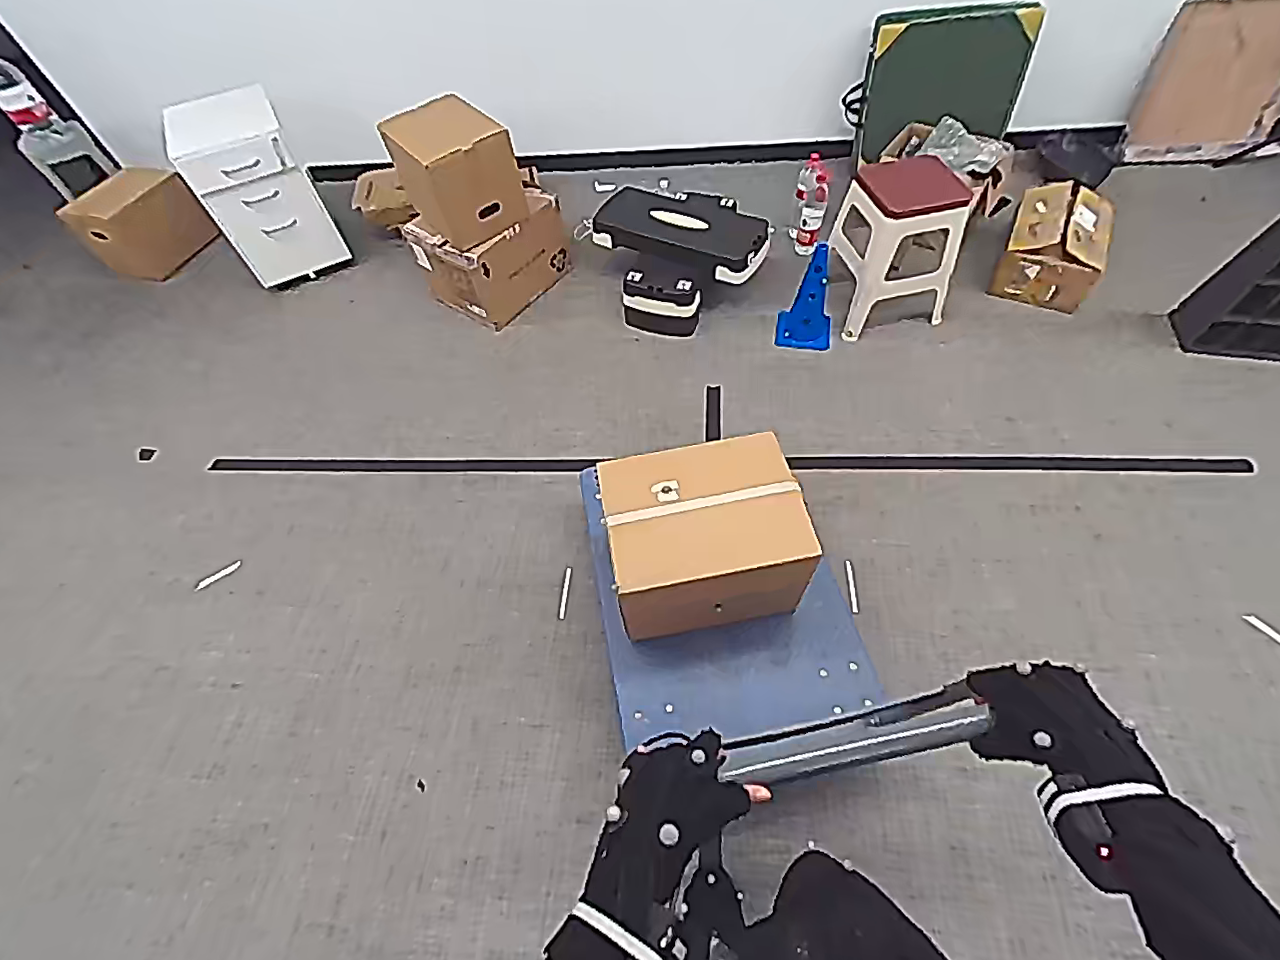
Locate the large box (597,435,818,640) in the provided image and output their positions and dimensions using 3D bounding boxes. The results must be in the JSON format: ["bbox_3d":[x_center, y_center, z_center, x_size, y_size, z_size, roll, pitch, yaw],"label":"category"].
[{"bbox_3d":[0.138,0.142,1.243,0.408,0.320,0.320,-11,57,-2],"label":"large box"}]
